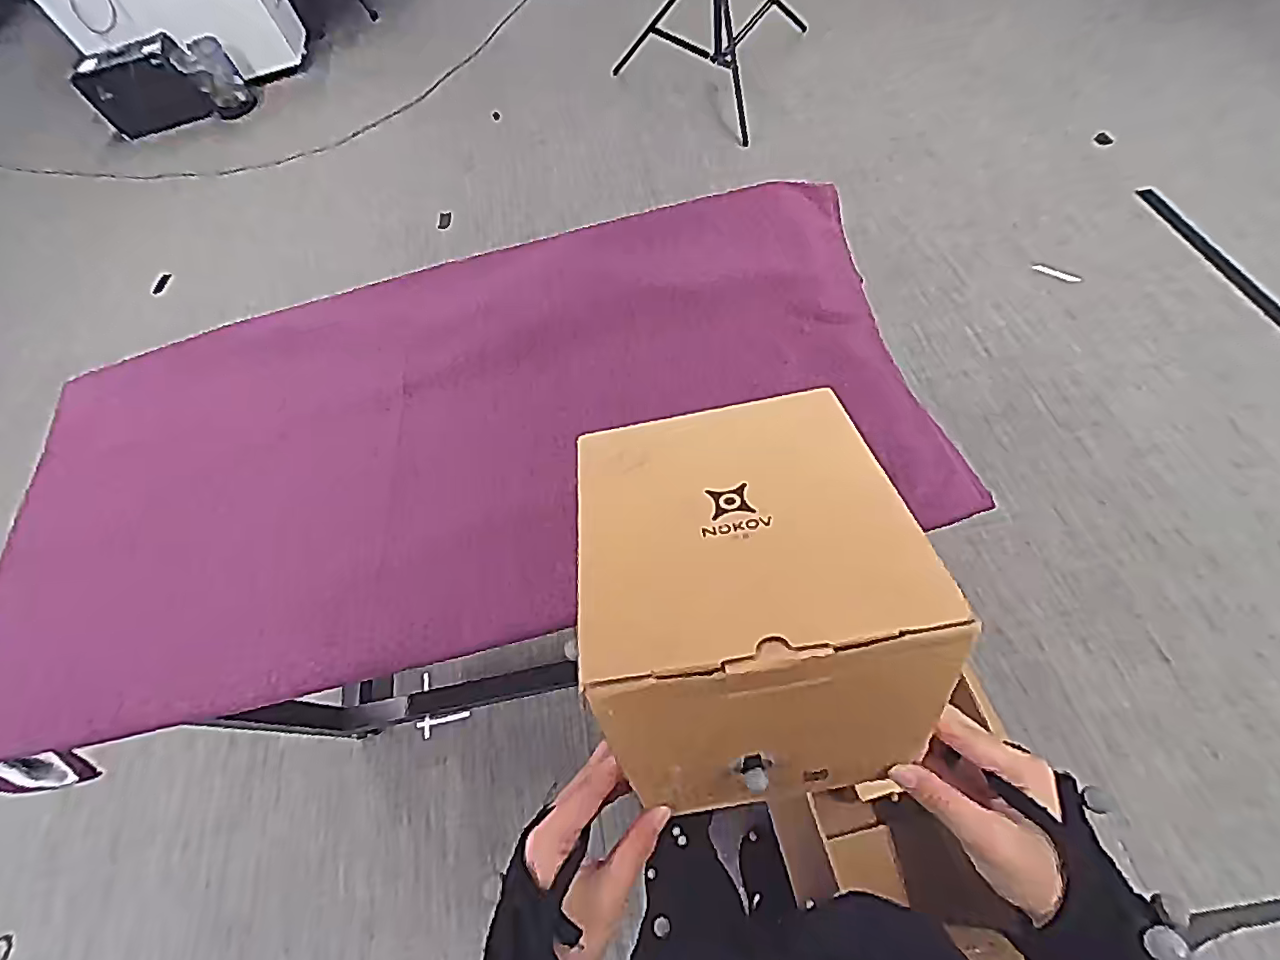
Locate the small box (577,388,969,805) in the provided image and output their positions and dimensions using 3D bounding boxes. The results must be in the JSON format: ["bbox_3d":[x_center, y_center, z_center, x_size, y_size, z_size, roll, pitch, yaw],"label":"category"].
[{"bbox_3d":[0.060,0.071,0.338,0.168,0.176,0.179,-11,43,3],"label":"small box"}]
